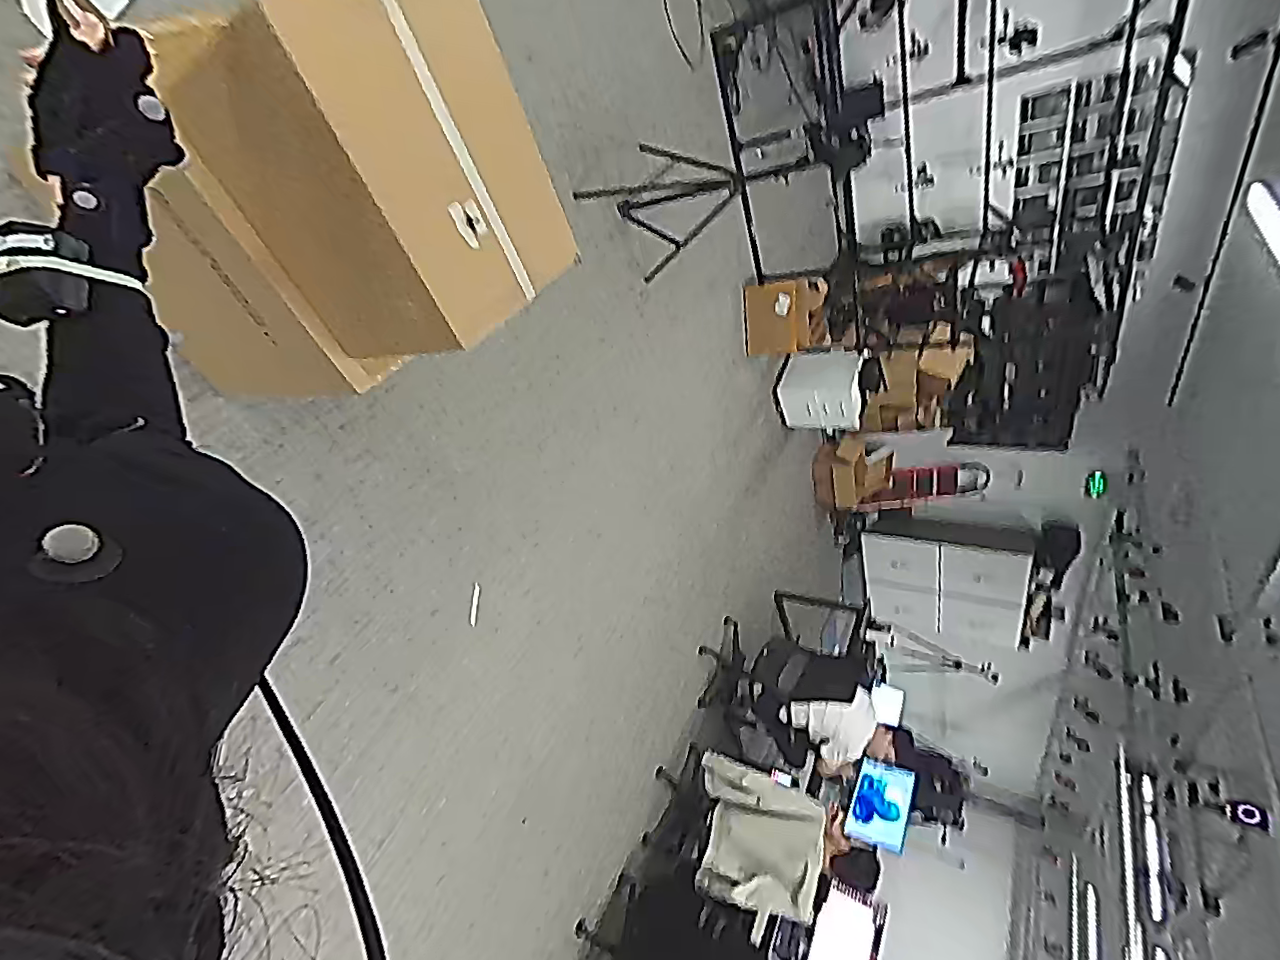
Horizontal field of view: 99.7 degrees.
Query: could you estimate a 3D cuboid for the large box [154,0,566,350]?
[{"bbox_3d":[-0.385,-0.454,0.826,0.320,0.320,0.408,-55,137,-36],"label":"large box"}]
